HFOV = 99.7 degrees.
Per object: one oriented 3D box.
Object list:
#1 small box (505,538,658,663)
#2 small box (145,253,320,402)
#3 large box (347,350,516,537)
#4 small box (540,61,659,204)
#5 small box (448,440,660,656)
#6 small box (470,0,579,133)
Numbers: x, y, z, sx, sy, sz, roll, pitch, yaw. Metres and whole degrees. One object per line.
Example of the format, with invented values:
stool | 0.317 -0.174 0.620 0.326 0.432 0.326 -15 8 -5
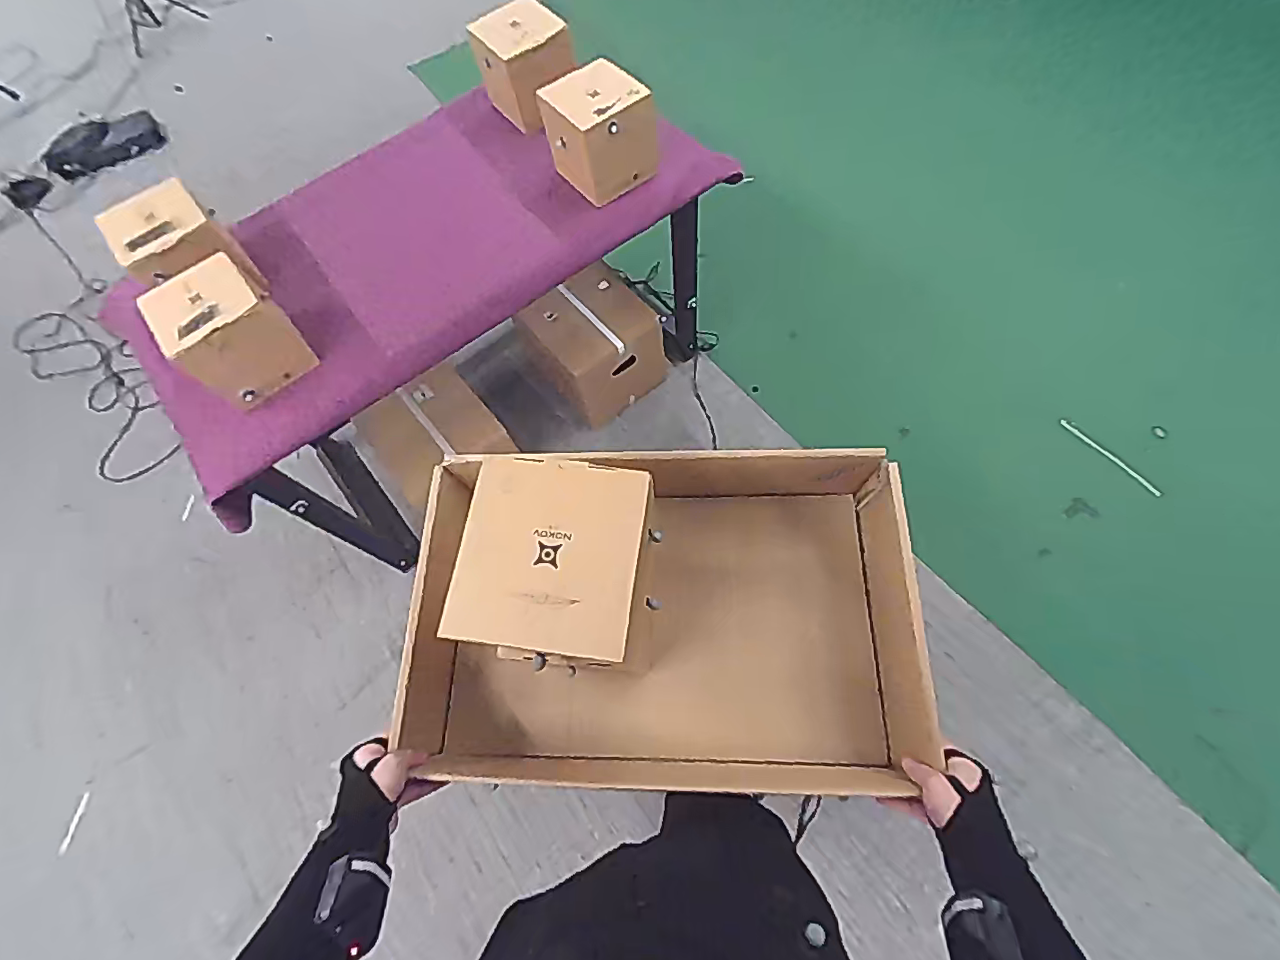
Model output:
small box | -0.065 0.143 0.717 0.168 0.176 0.179 4 71 4
small box | -0.733 -0.267 0.990 0.168 0.176 0.179 -39 67 -12
large box | -0.578 -0.102 1.631 0.320 0.320 0.408 -39 67 -13
small box | -0.078 -0.720 1.130 0.168 0.176 0.179 -36 65 -9
small box | -0.072 0.080 0.567 0.168 0.176 0.179 7 70 6
small box | -0.256 -0.951 1.250 0.168 0.176 0.179 -37 69 -8
